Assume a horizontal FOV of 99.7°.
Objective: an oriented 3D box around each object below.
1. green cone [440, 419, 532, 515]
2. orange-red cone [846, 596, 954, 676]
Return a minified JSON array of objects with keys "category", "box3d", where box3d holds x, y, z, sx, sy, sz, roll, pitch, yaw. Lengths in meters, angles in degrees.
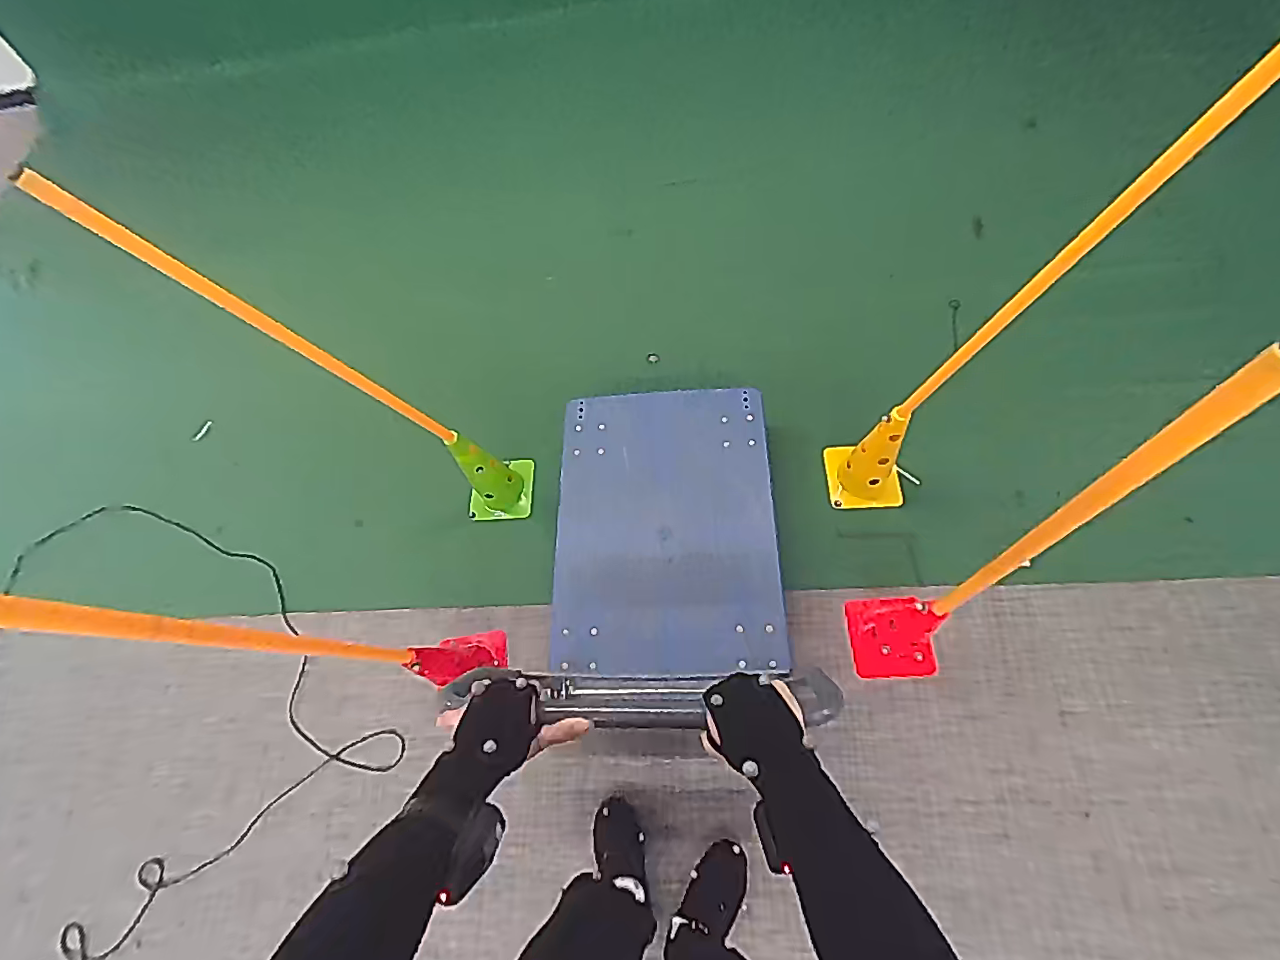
[{"category":"green cone","box3d":[-0.465,-0.059,1.540,0.200,0.368,0.202,-4,64,7]},{"category":"orange-red cone","box3d":[0.618,0.321,1.224,0.198,0.360,0.199,-3,64,6]}]
